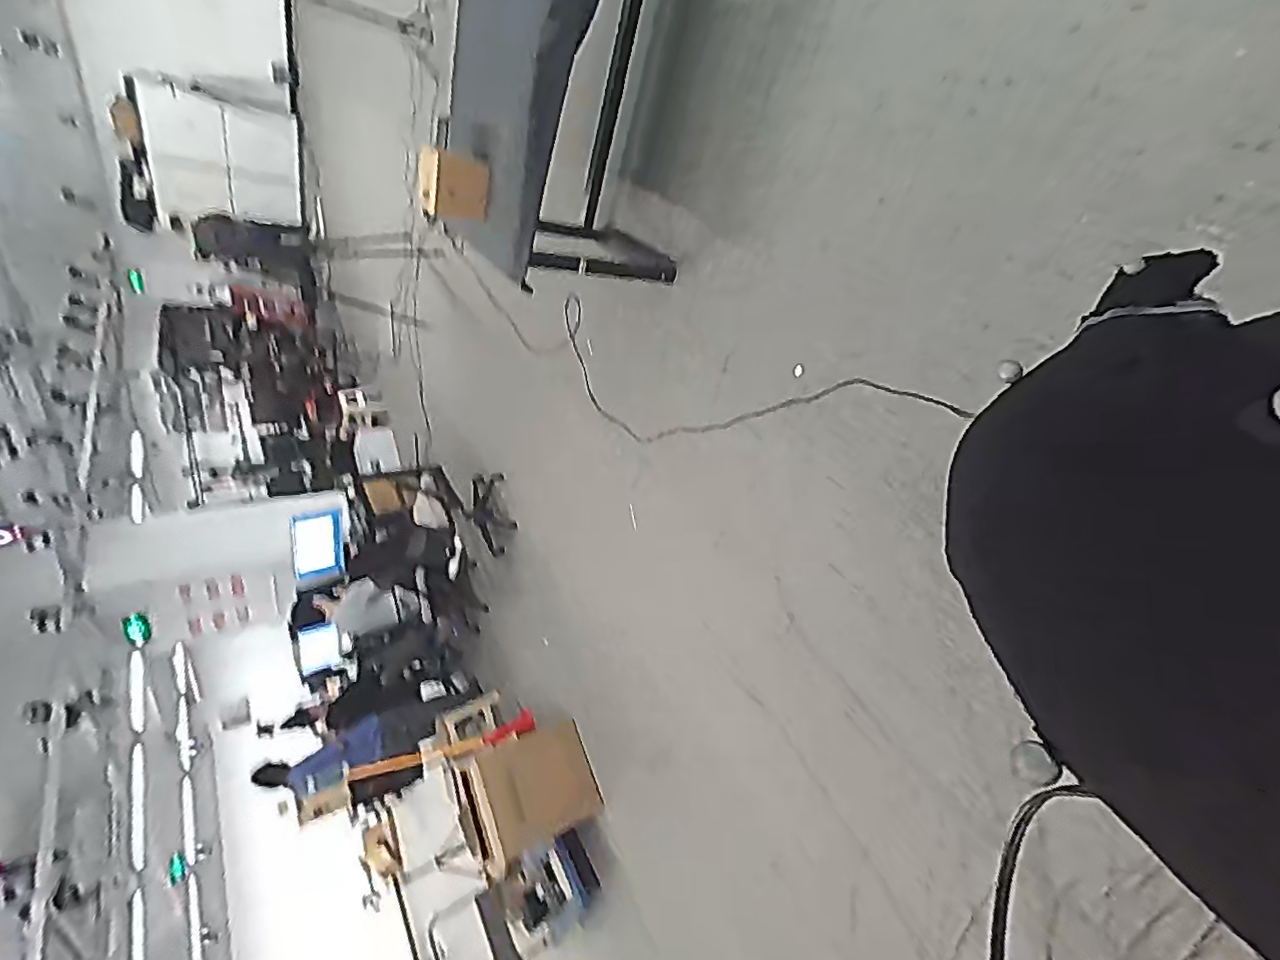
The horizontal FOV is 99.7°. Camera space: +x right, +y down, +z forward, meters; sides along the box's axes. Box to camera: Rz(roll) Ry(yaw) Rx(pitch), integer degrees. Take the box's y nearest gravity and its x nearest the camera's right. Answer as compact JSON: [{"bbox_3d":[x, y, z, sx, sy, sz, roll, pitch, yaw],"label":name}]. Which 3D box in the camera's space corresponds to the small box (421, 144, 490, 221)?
[{"bbox_3d":[-0.604,-0.967,1.767,0.168,0.176,0.179,45,129,38],"label":"small box"}]
